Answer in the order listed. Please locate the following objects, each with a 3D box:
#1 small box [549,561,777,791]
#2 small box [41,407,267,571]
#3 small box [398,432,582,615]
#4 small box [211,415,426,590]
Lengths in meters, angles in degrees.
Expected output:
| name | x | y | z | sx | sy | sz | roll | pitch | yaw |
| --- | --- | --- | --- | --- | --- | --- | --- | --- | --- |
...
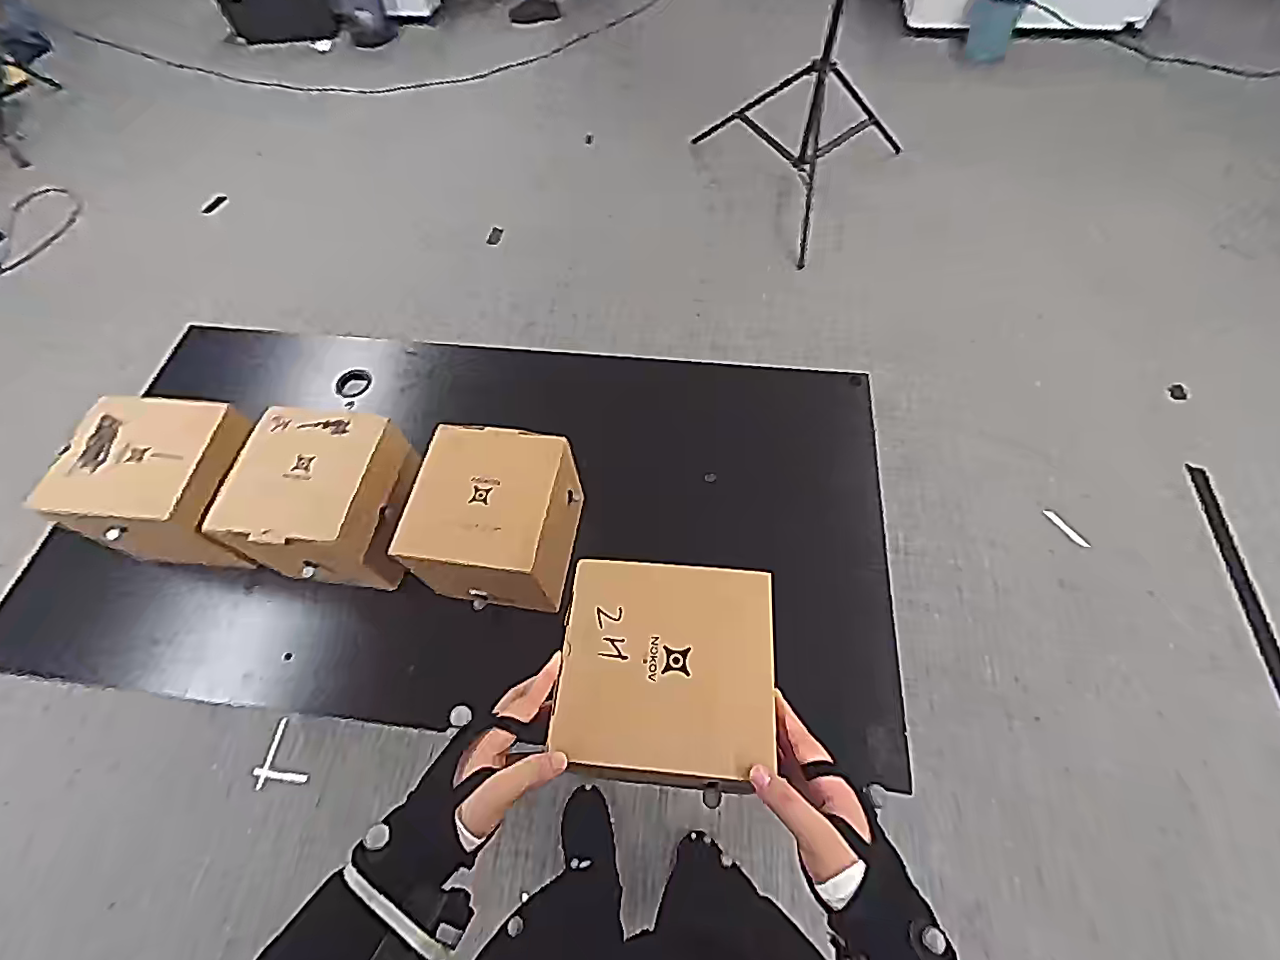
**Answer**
| name | x | y | z | sx | sy | sz | roll | pitch | yaw |
| --- | --- | --- | --- | --- | --- | --- | --- | --- | --- |
| small box | 0.028 | 0.193 | 0.518 | 0.179 | 0.176 | 0.168 | 4 | 57 | 6 |
| small box | -0.614 | 0.018 | 0.739 | 0.179 | 0.176 | 0.168 | 4 | 62 | 3 |
| small box | -0.176 | 0.061 | 0.703 | 0.168 | 0.176 | 0.179 | 5 | 62 | 7 |
| small box | -0.400 | 0.037 | 0.722 | 0.168 | 0.176 | 0.179 | 5 | 62 | 6 |
